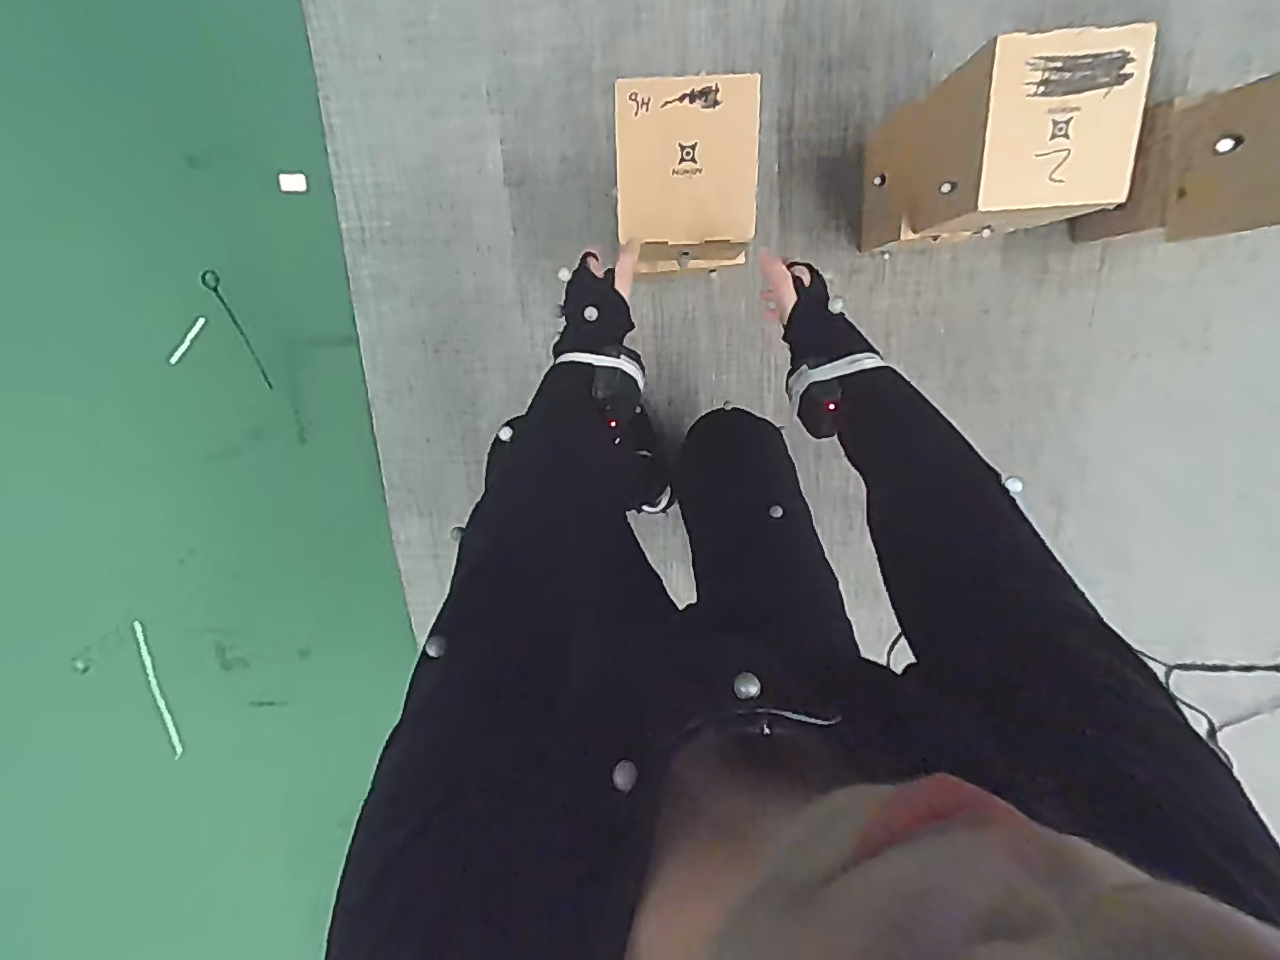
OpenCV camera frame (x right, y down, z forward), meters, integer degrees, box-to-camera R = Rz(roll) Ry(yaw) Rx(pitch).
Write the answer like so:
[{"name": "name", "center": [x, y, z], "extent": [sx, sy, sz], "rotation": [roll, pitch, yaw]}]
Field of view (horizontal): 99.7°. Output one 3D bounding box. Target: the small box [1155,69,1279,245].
[{"name": "small box", "center": [0.795, -0.401, 0.666], "extent": [0.179, 0.176, 0.168], "rotation": [-10, 106, 5]}]

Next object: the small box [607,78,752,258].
[{"name": "small box", "center": [0.048, -0.391, 0.709], "extent": [0.168, 0.176, 0.179], "rotation": [1, 106, 3]}]

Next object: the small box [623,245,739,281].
[{"name": "small box", "center": [0.060, -0.418, 0.872], "extent": [0.179, 0.176, 0.168], "rotation": [-3, 105, 4]}]

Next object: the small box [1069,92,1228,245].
[{"name": "small box", "center": [0.799, -0.461, 0.818], "extent": [0.179, 0.176, 0.168], "rotation": [-5, 106, 4]}]
